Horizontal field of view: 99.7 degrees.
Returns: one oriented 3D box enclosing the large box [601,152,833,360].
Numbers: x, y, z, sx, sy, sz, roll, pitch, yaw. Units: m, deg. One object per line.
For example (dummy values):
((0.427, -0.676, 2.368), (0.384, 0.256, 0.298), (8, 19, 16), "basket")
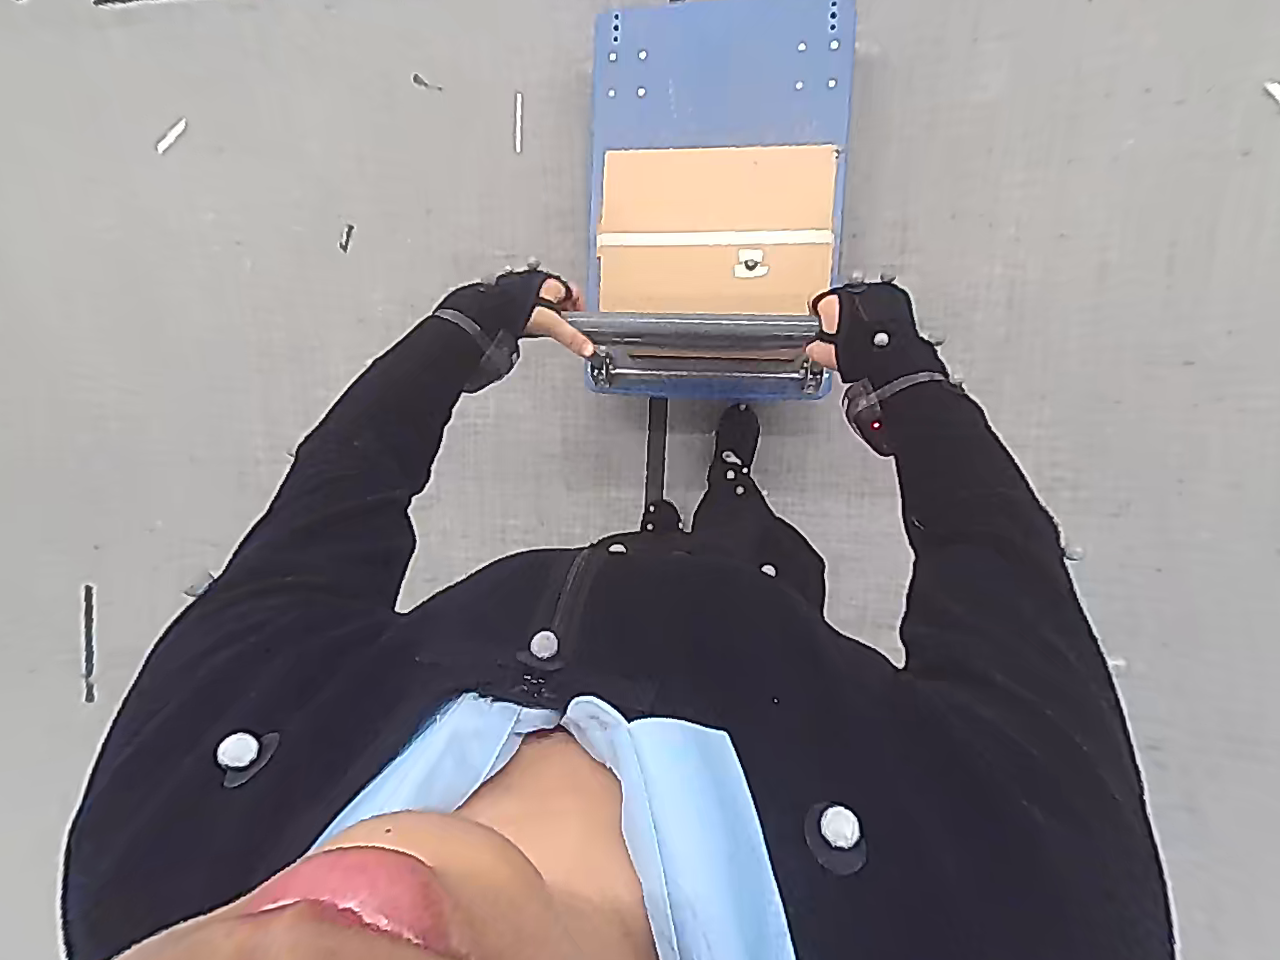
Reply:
((0.143, -0.424, 1.100), (0.408, 0.320, 0.320), (3, 94, 6), "large box")
